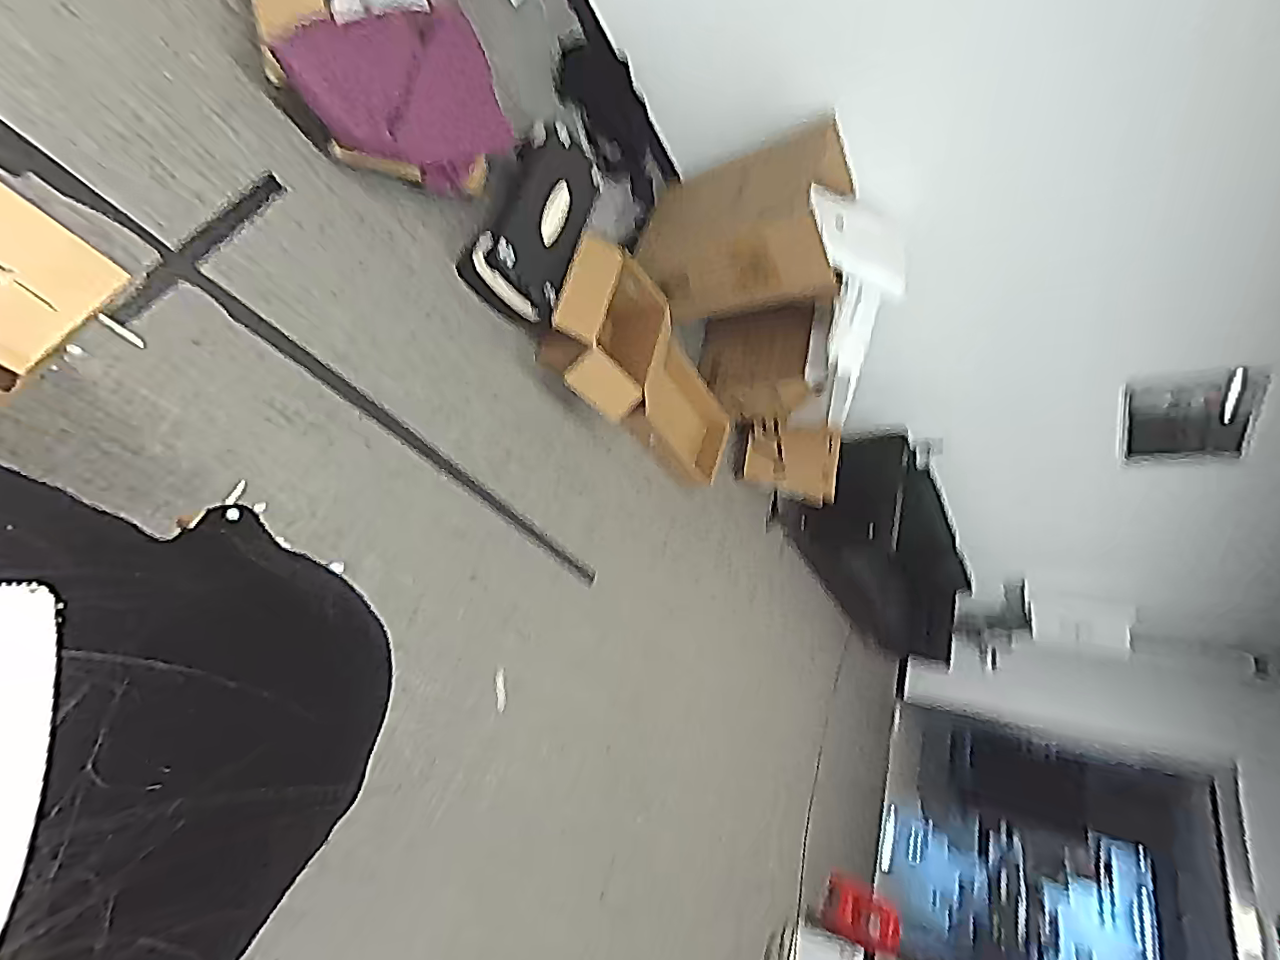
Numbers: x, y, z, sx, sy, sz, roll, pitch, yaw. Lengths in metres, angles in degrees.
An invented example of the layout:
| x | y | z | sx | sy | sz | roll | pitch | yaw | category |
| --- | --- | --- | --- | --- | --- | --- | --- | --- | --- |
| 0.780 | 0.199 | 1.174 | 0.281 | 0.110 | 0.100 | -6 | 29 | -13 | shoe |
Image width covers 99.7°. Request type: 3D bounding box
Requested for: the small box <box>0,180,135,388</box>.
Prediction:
| x | y | z | sx | sy | sz | roll | pitch | yaw | category |
| --- | --- | --- | --- | --- | --- | --- | --- | --- | --- |
| -0.753 | -0.225 | 0.620 | 0.179 | 0.176 | 0.168 | 48 | 53 | -40 | small box |
